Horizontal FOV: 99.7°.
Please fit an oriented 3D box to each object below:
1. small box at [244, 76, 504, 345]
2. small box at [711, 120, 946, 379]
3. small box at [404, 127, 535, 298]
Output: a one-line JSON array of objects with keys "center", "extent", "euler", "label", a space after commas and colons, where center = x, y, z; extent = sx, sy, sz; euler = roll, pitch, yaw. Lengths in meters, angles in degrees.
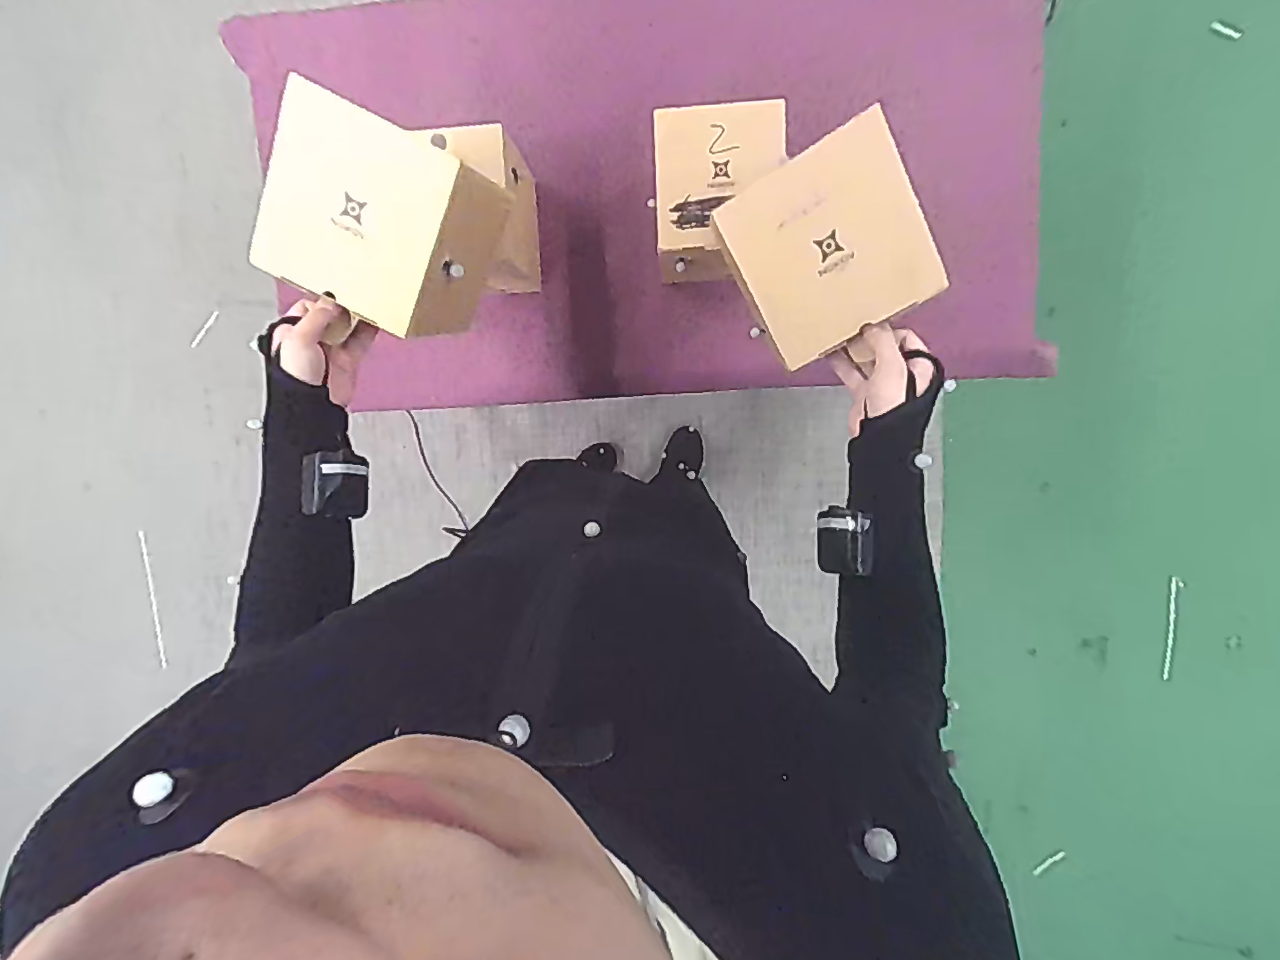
[{"center": [-0.262, -0.266, 0.570], "extent": [0.168, 0.176, 0.179], "euler": [26, 109, -4], "label": "small box"}, {"center": [0.187, -0.234, 0.579], "extent": [0.168, 0.176, 0.179], "euler": [-26, 105, 14], "label": "small box"}, {"center": [-0.254, -0.372, 0.781], "extent": [0.168, 0.176, 0.179], "euler": [-2, 97, 4], "label": "small box"}]
